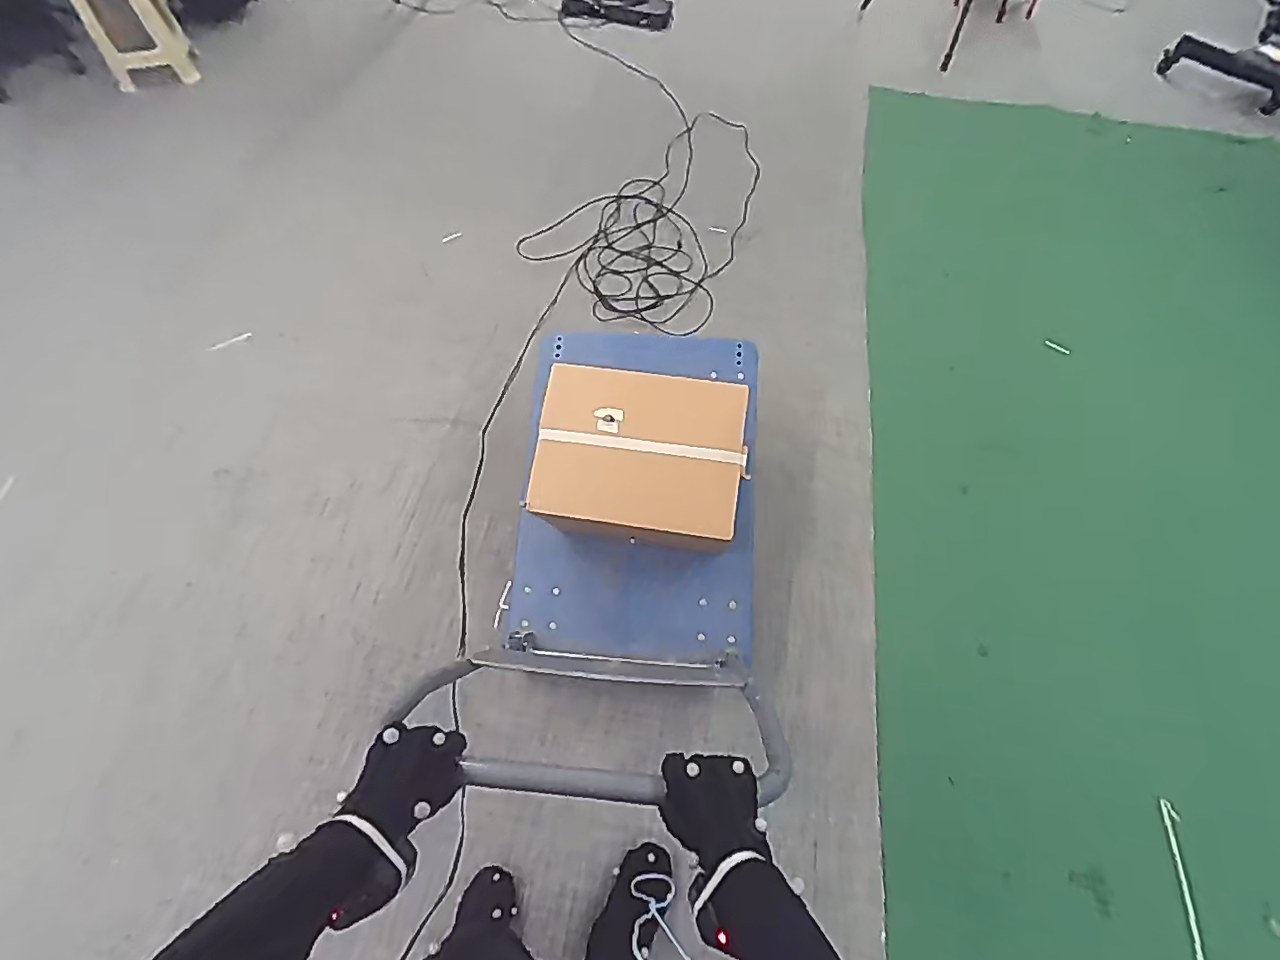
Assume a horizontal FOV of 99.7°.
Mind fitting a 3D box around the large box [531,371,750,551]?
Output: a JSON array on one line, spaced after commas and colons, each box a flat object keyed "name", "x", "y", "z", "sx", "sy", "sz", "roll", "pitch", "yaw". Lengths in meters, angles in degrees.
[{"name": "large box", "x": 0.019, "y": -0.025, "z": 1.200, "sx": 0.408, "sy": 0.320, "sz": 0.320, "roll": 7, "pitch": 78, "yaw": 7}]
